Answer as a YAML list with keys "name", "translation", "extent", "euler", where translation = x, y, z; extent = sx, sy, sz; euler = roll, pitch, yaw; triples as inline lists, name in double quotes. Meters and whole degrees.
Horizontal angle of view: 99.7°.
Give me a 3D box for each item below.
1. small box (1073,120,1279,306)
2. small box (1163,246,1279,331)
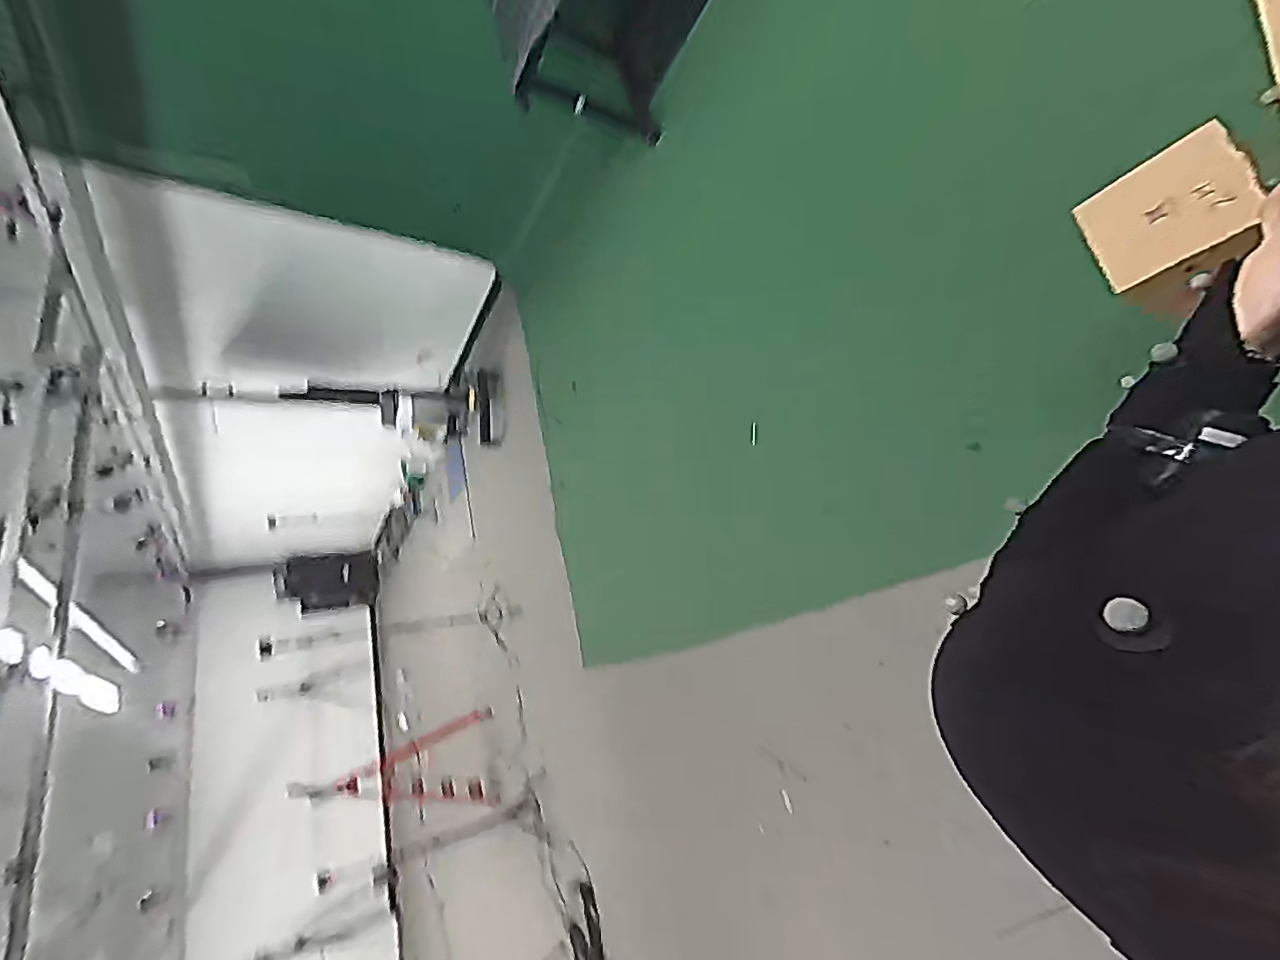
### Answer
- name: "small box"
  translation: [0.828, -0.392, 0.831]
  extent: [0.179, 0.176, 0.168]
  euler: [-34, 64, 51]
- name: "small box"
  translation: [1.097, -0.399, 1.020]
  extent: [0.168, 0.176, 0.179]
  euler: [-38, 60, 50]
